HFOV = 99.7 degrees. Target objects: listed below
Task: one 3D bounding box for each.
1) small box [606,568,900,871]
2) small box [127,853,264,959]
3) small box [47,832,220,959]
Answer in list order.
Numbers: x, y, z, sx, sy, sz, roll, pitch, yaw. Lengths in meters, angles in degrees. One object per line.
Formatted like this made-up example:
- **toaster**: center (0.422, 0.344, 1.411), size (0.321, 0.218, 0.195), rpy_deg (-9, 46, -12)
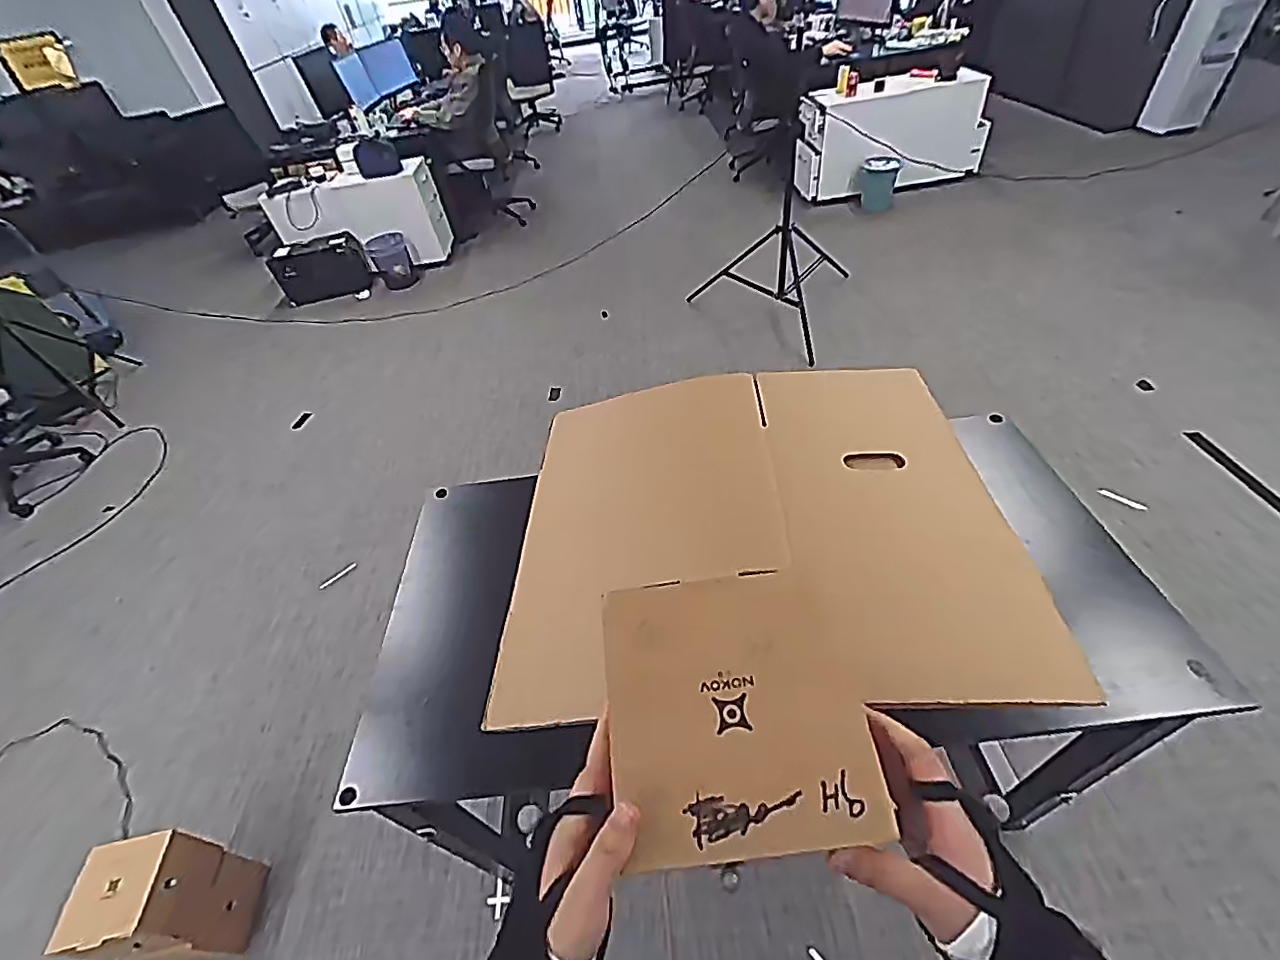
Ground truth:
- **small box**: center (0.068, 0.191, 0.422), size (0.168, 0.176, 0.179), rpy_deg (-8, 56, 2)
- **small box**: center (-0.998, 0.978, 1.224), size (0.168, 0.176, 0.179), rpy_deg (-11, 46, 0)
- **small box**: center (-1.021, 0.861, 1.114), size (0.168, 0.176, 0.179), rpy_deg (-12, 44, -3)
